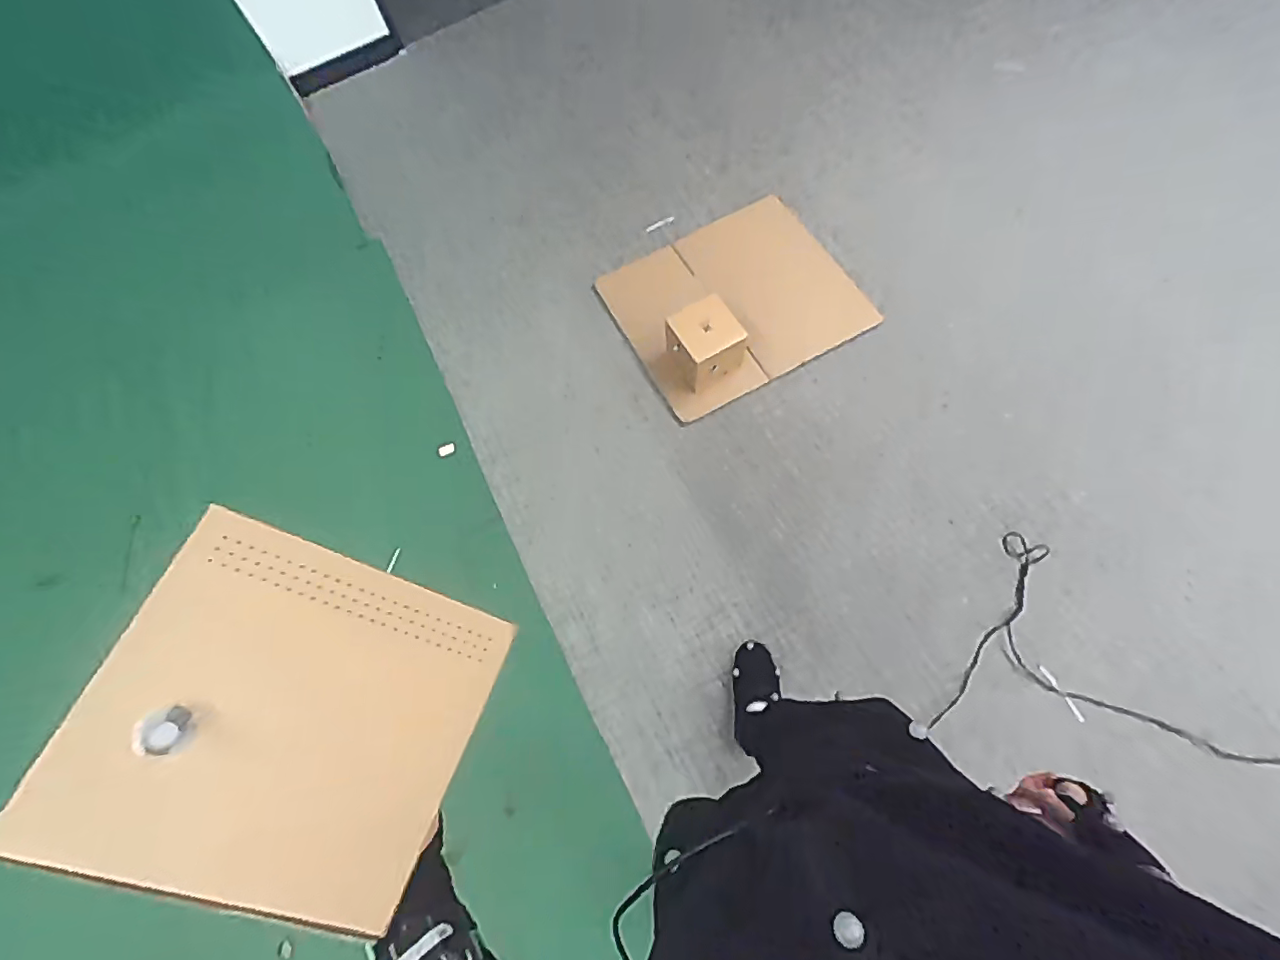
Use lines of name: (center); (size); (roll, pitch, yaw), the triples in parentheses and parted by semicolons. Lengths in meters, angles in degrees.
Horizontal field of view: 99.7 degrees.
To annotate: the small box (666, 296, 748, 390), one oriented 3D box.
small box: (0.190, -0.382, 1.551); (0.168, 0.176, 0.179); (-29, 69, -6)
